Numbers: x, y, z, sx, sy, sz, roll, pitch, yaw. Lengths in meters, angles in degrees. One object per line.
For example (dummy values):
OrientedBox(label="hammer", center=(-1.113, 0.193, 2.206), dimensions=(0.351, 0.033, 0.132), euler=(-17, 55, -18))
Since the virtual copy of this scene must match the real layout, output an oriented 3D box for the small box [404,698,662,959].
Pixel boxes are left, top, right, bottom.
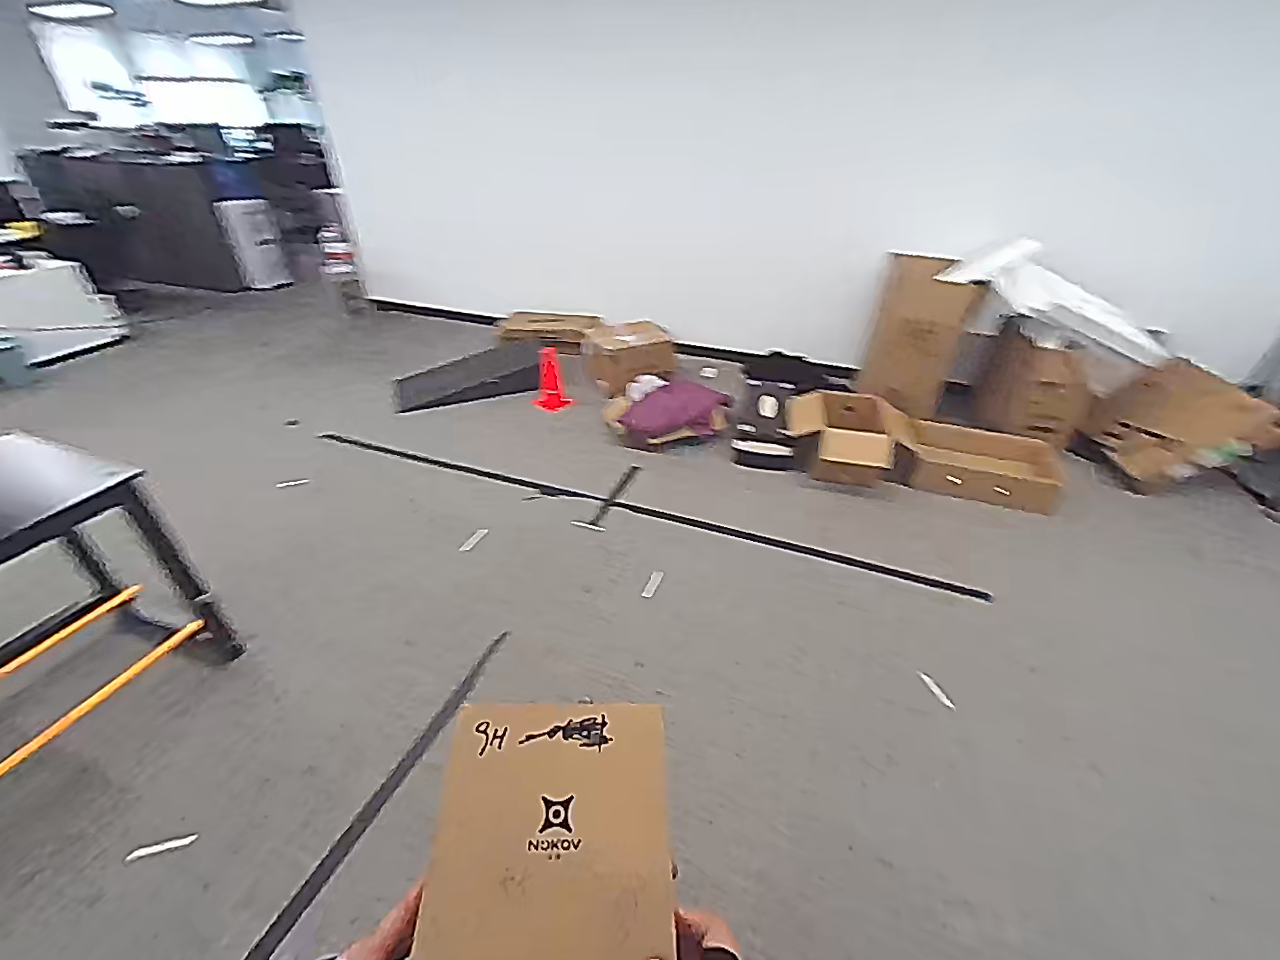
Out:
OrientedBox(label="small box", center=(-0.074, 0.300, 0.446), dimensions=(0.168, 0.176, 0.179), euler=(0, 47, -5))
